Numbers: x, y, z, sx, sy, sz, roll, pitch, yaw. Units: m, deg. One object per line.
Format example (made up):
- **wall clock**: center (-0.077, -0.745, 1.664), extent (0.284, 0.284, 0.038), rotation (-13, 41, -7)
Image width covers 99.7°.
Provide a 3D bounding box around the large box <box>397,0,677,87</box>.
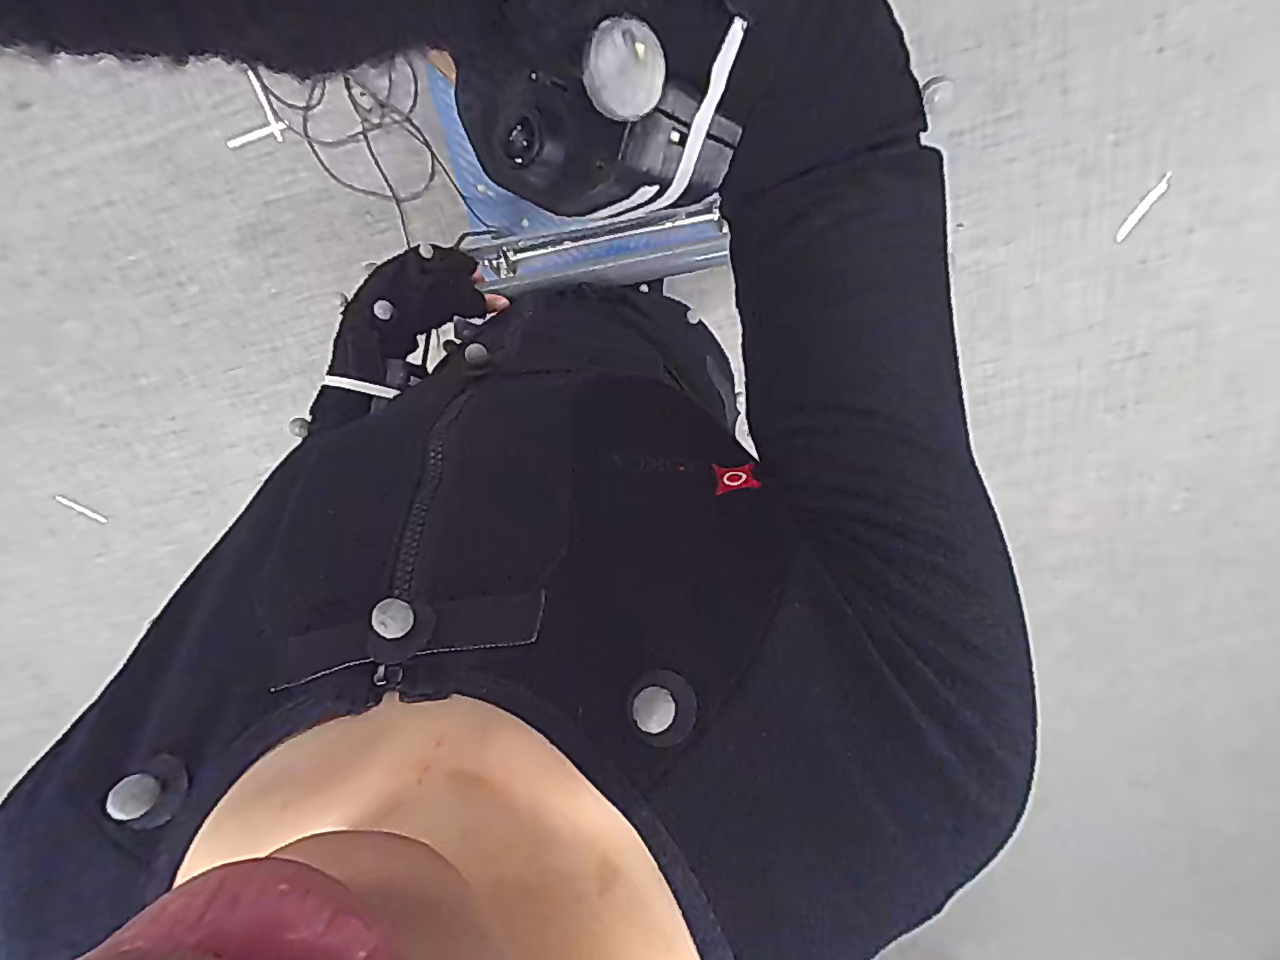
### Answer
- **large box**: center (-0.164, -0.864, 0.835), extent (0.408, 0.320, 0.320), rotation (-9, 112, 4)
